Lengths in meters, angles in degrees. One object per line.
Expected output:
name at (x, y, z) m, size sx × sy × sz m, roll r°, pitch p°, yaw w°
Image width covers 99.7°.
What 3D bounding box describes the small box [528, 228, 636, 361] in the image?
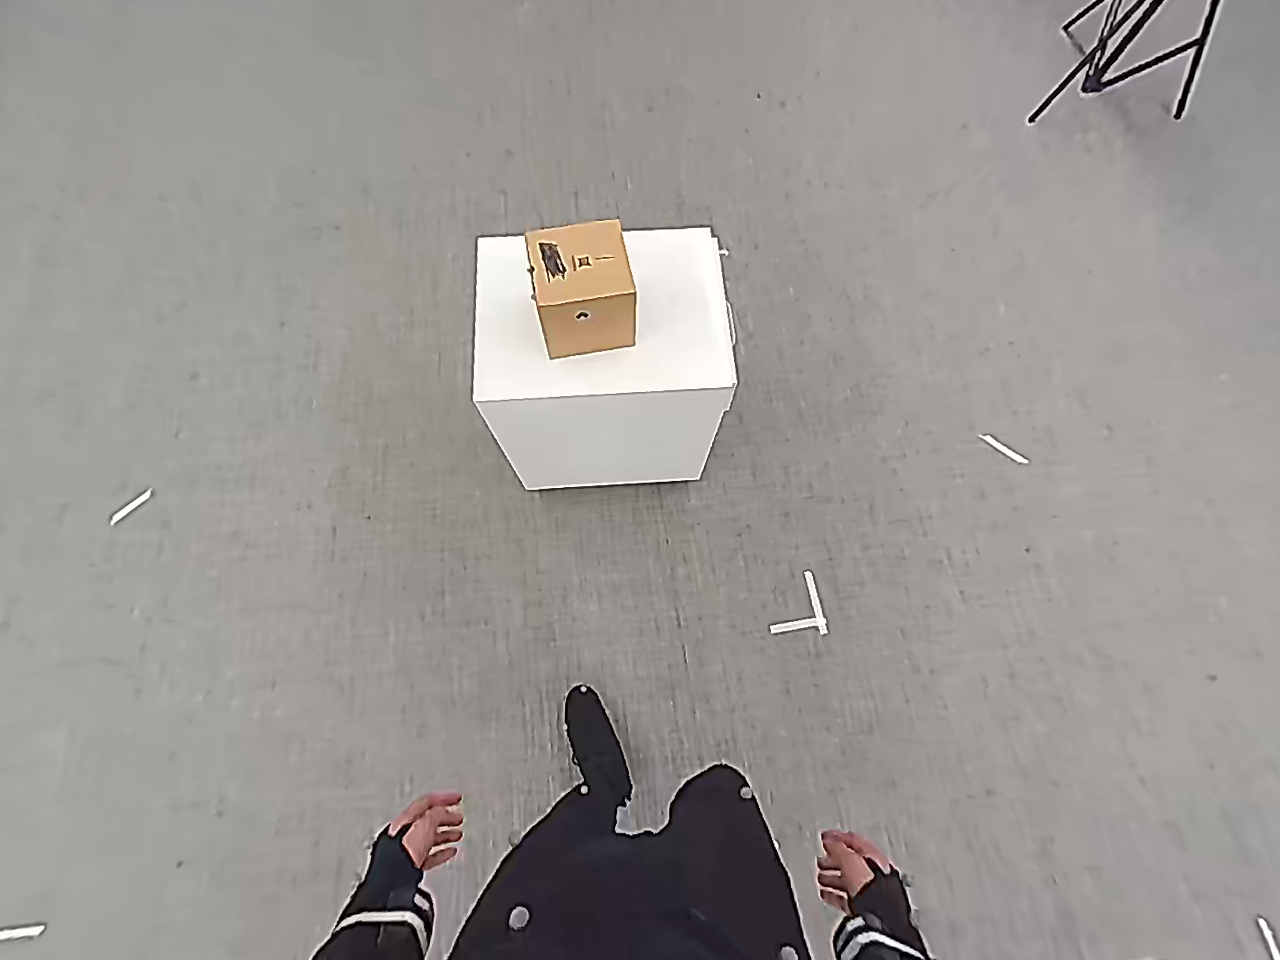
small box at (-0.106, -0.347, 1.034) m, size 0.179 × 0.176 × 0.168 m, roll -10°, pitch 71°, yaw -6°
